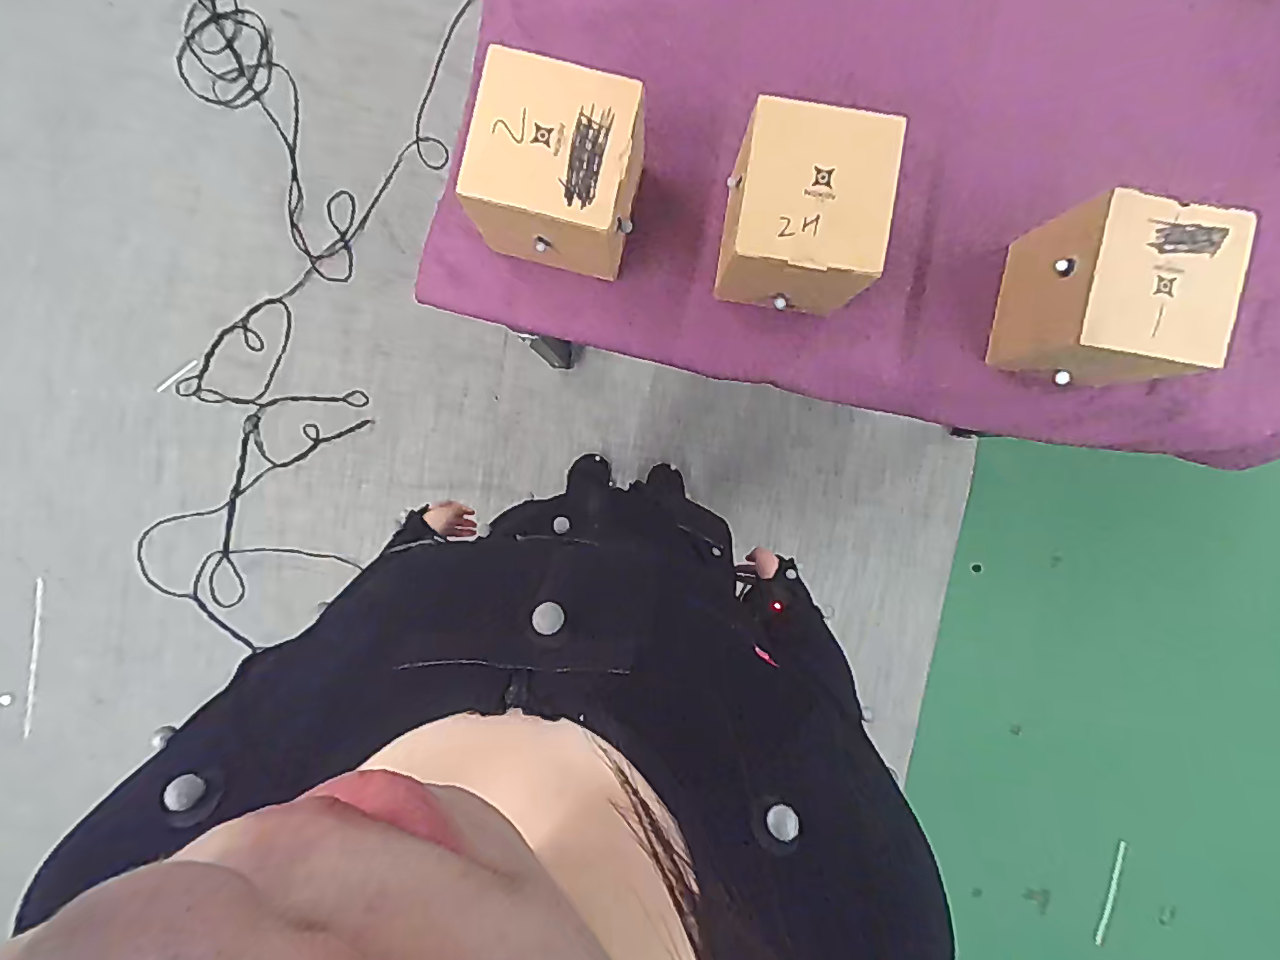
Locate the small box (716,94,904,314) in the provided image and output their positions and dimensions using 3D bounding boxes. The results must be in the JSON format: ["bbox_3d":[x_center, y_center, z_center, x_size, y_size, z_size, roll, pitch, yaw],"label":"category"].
[{"bbox_3d":[0.195,-0.325,0.670,0.168,0.176,0.179,9,92,0],"label":"small box"}]

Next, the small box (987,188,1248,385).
[{"bbox_3d":[0.578,-0.228,0.681,0.168,0.176,0.179,10,94,-1],"label":"small box"}]
